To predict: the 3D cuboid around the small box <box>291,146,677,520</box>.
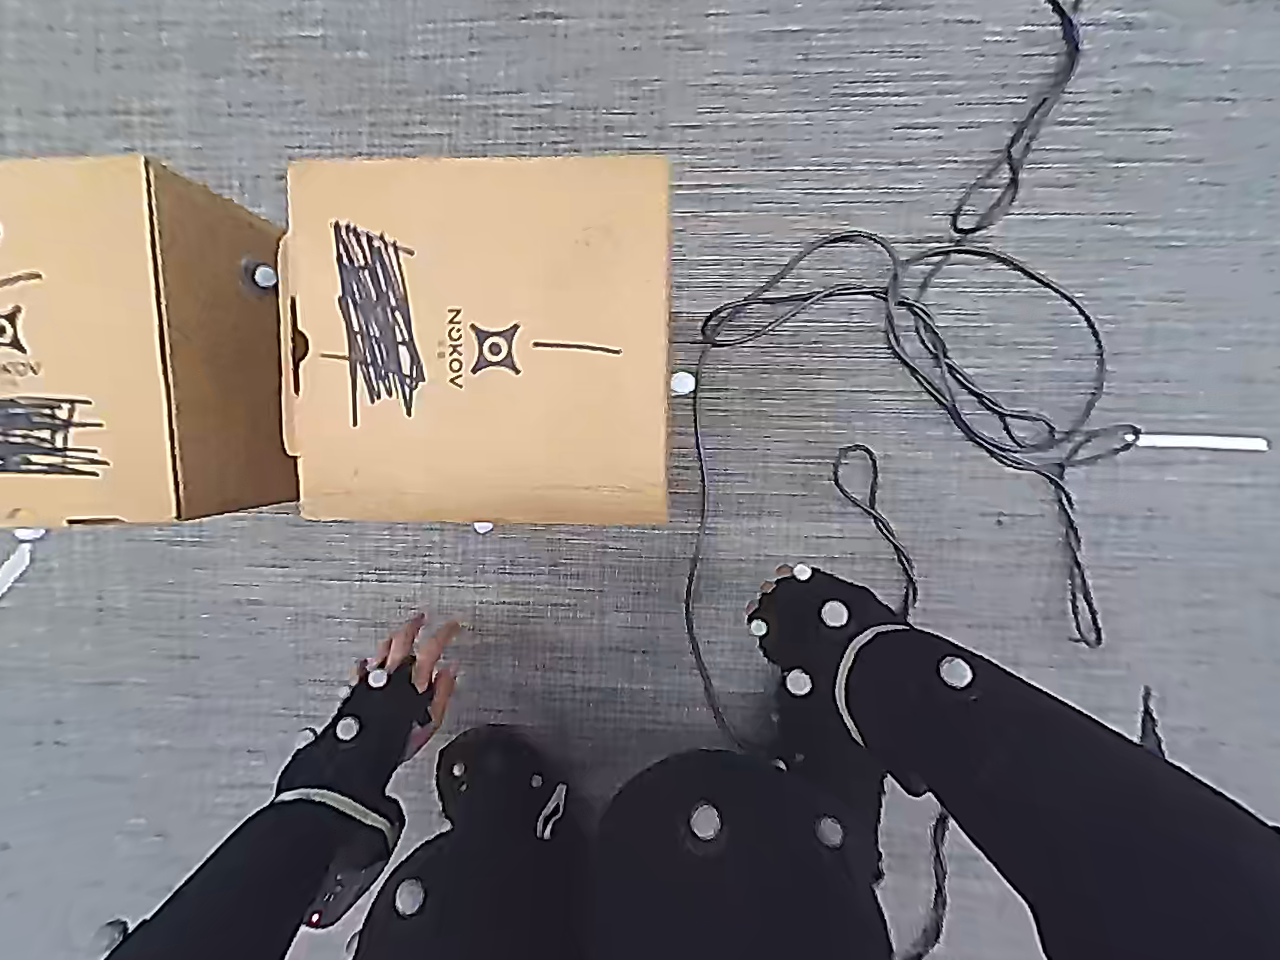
[{"bbox_3d":[-0.068,-0.071,0.324,0.179,0.176,0.168,1,95,2],"label":"small box"}]
